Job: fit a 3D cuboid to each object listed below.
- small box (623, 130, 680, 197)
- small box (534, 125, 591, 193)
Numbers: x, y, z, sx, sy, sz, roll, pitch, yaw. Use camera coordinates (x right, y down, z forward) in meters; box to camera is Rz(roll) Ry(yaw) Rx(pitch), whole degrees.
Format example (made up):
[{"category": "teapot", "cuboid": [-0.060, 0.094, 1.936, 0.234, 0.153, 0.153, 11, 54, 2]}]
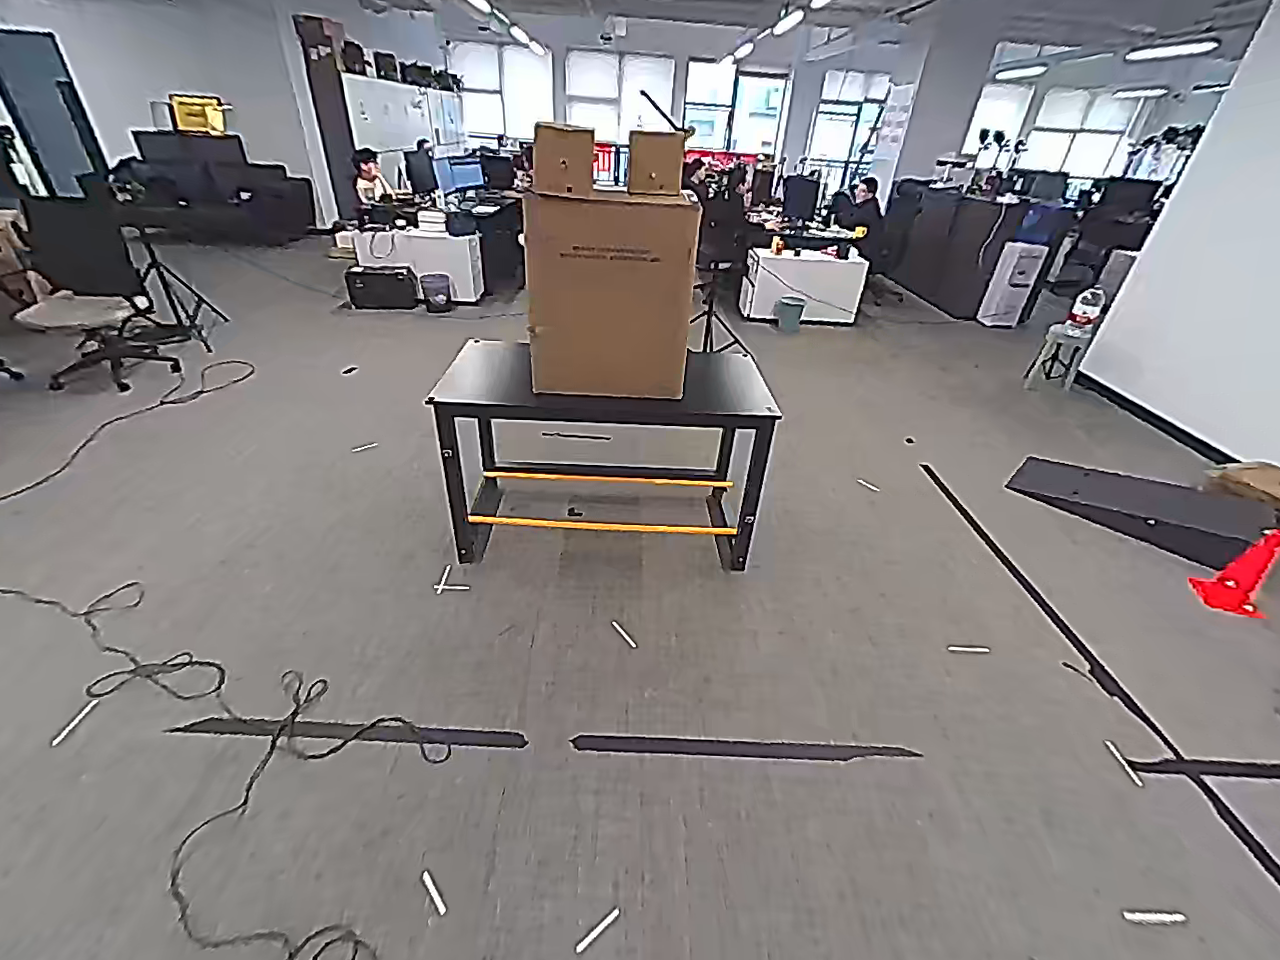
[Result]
[{"category": "small box", "cuboid": [0.032, -1.006, 1.718, 0.168, 0.176, 0.179, 0, 33, -3]}, {"category": "small box", "cuboid": [-0.242, -1.018, 1.715, 0.168, 0.176, 0.179, 1, 33, -4]}]
